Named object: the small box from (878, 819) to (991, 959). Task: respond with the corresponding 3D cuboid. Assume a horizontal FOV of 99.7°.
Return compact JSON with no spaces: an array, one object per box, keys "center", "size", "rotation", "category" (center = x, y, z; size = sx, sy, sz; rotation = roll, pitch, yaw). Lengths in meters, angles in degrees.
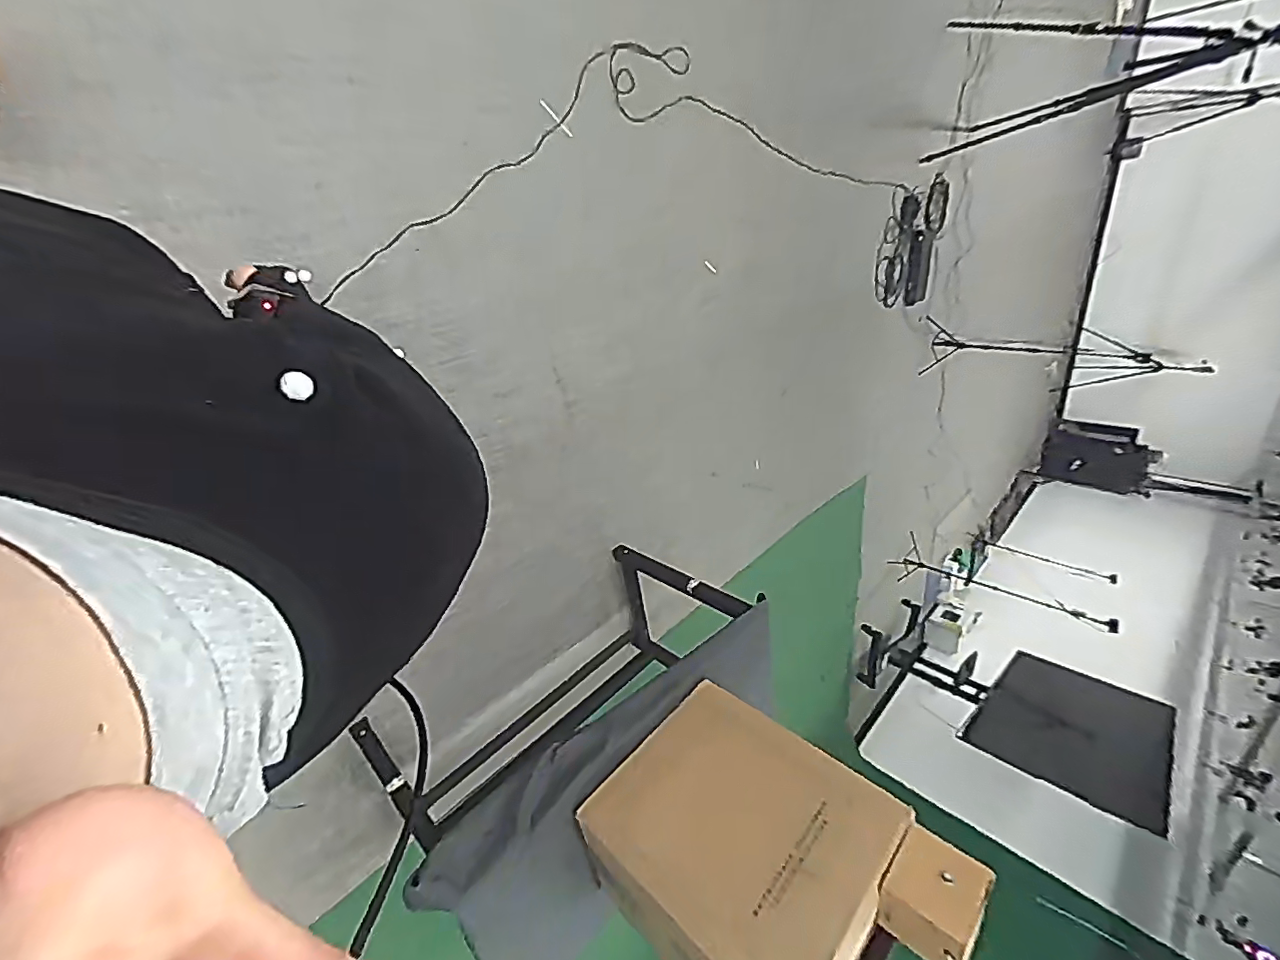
[{"center":[0.642,0.899,1.185],"size":[0.179,0.176,0.168],"rotation":[-34,124,-36],"category":"small box"}]
